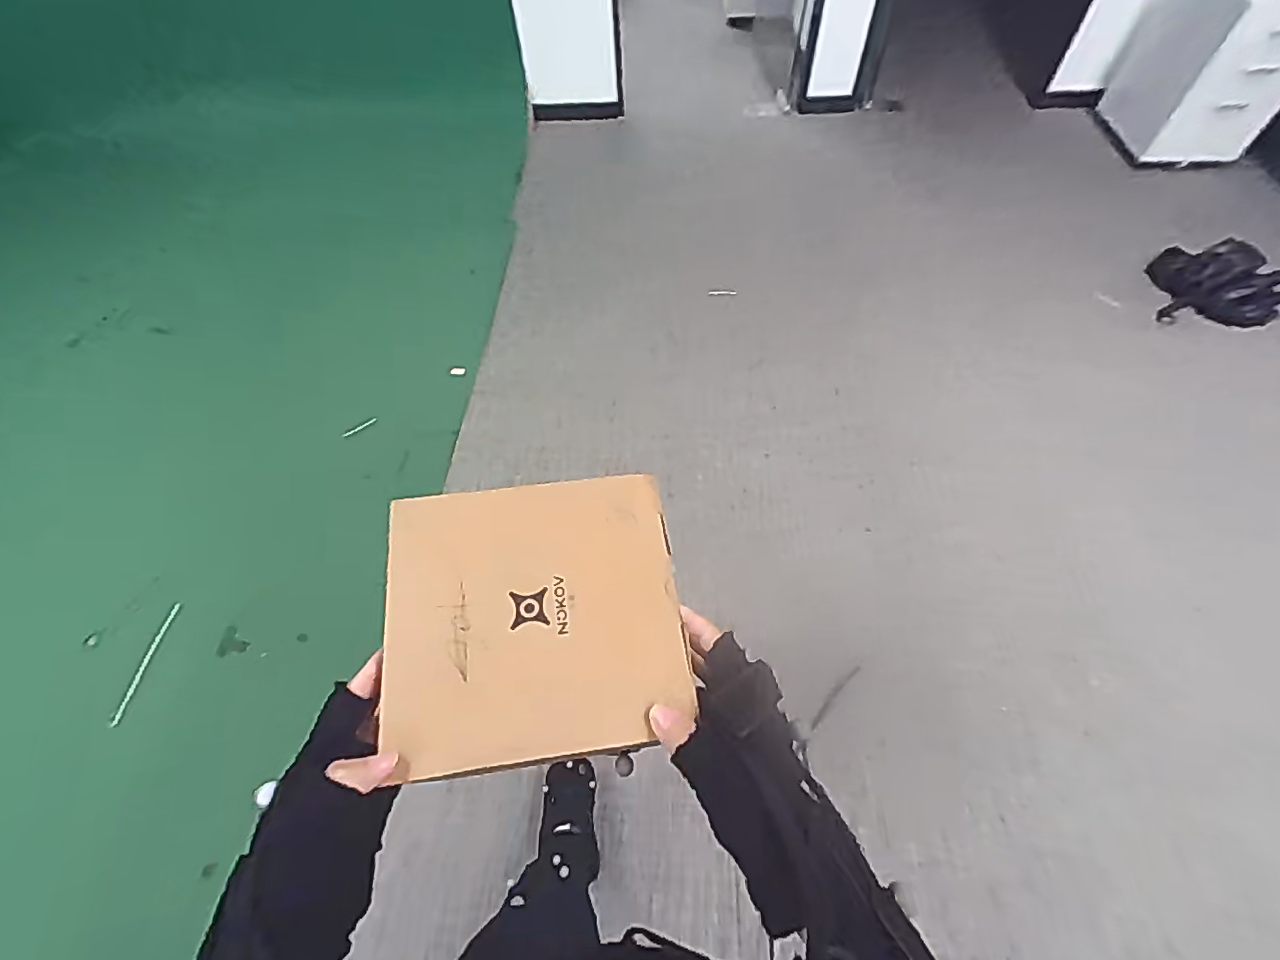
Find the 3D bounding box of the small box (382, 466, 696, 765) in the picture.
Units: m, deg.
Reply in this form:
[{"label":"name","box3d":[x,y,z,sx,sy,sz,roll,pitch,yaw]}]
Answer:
[{"label":"small box","box3d":[-0.068,0.107,0.405,0.179,0.176,0.168,-7,63,-6]}]
